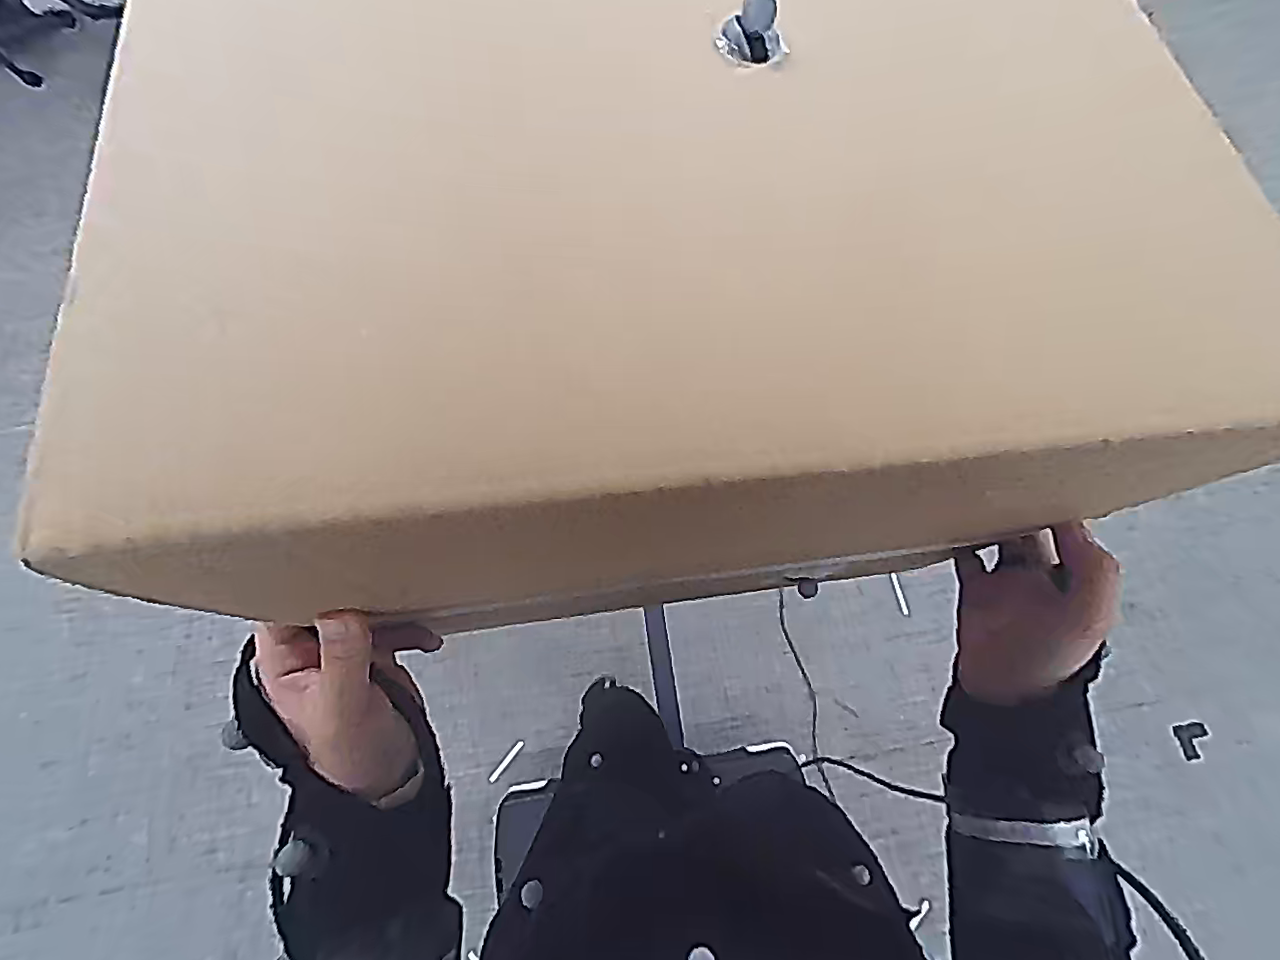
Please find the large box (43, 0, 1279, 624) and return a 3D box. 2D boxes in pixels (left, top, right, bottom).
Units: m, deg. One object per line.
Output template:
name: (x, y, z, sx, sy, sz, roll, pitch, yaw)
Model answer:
large box: (0.015, -0.109, 0.337, 0.408, 0.320, 0.320, -7, 72, -9)
